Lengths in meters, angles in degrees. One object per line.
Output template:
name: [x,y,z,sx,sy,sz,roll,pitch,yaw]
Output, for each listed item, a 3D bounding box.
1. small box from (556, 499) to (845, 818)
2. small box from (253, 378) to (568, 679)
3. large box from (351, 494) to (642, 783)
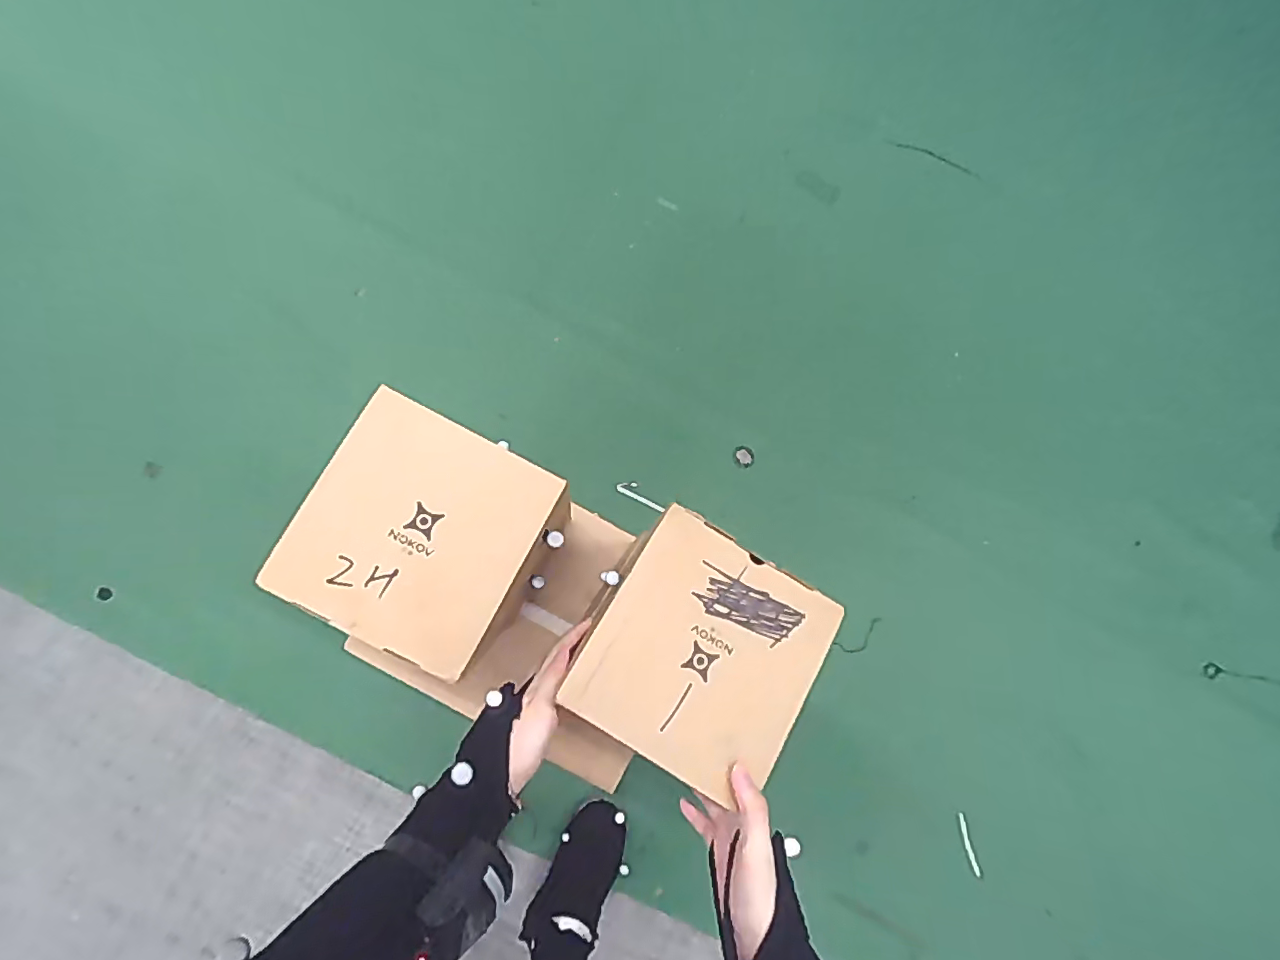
small box: [0.041,0.144,0.481,0.168,0.176,0.179,32,76,2]
small box: [-0.177,0.045,0.482,0.168,0.176,0.179,28,79,-1]
large box: [-0.151,0.199,0.875,0.408,0.320,0.320,29,80,-2]
